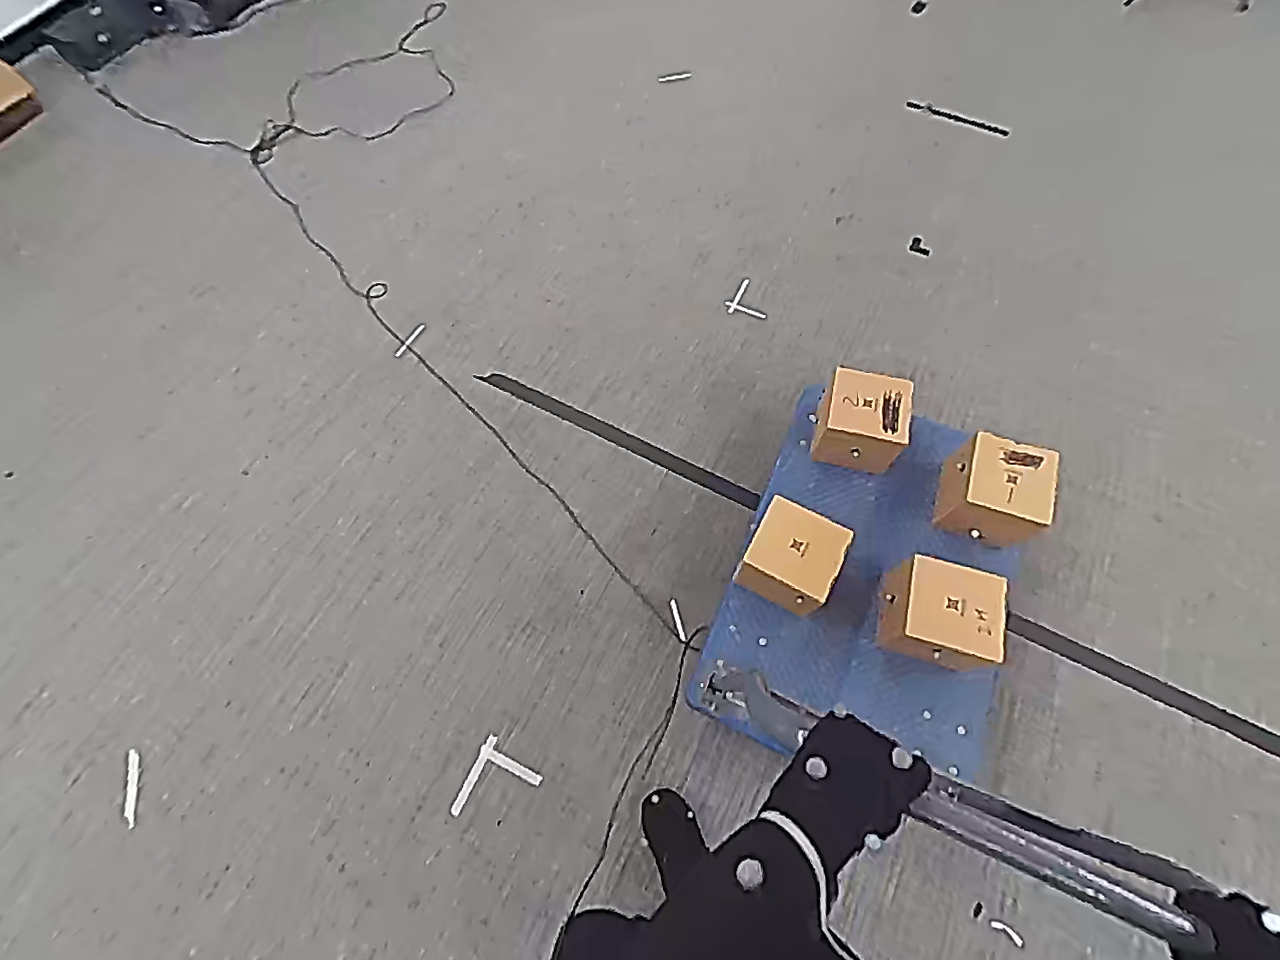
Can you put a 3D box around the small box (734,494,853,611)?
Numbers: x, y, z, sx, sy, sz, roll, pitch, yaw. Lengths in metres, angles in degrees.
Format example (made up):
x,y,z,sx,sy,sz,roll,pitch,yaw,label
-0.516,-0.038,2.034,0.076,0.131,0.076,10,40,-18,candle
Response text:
x,y,z,sx,sy,sz,roll,pitch,yaw,label
0.317,0.162,1.152,0.179,0.176,0.168,27,70,12,small box

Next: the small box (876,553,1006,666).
x,y,z,sx,sy,sz,roll,pitch,yaw,label
0.600,0.269,1.094,0.179,0.176,0.168,16,69,9,small box

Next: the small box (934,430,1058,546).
x,y,z,sx,sy,sz,roll,pitch,yaw,label
0.776,0.022,1.191,0.168,0.176,0.179,18,70,11,small box
